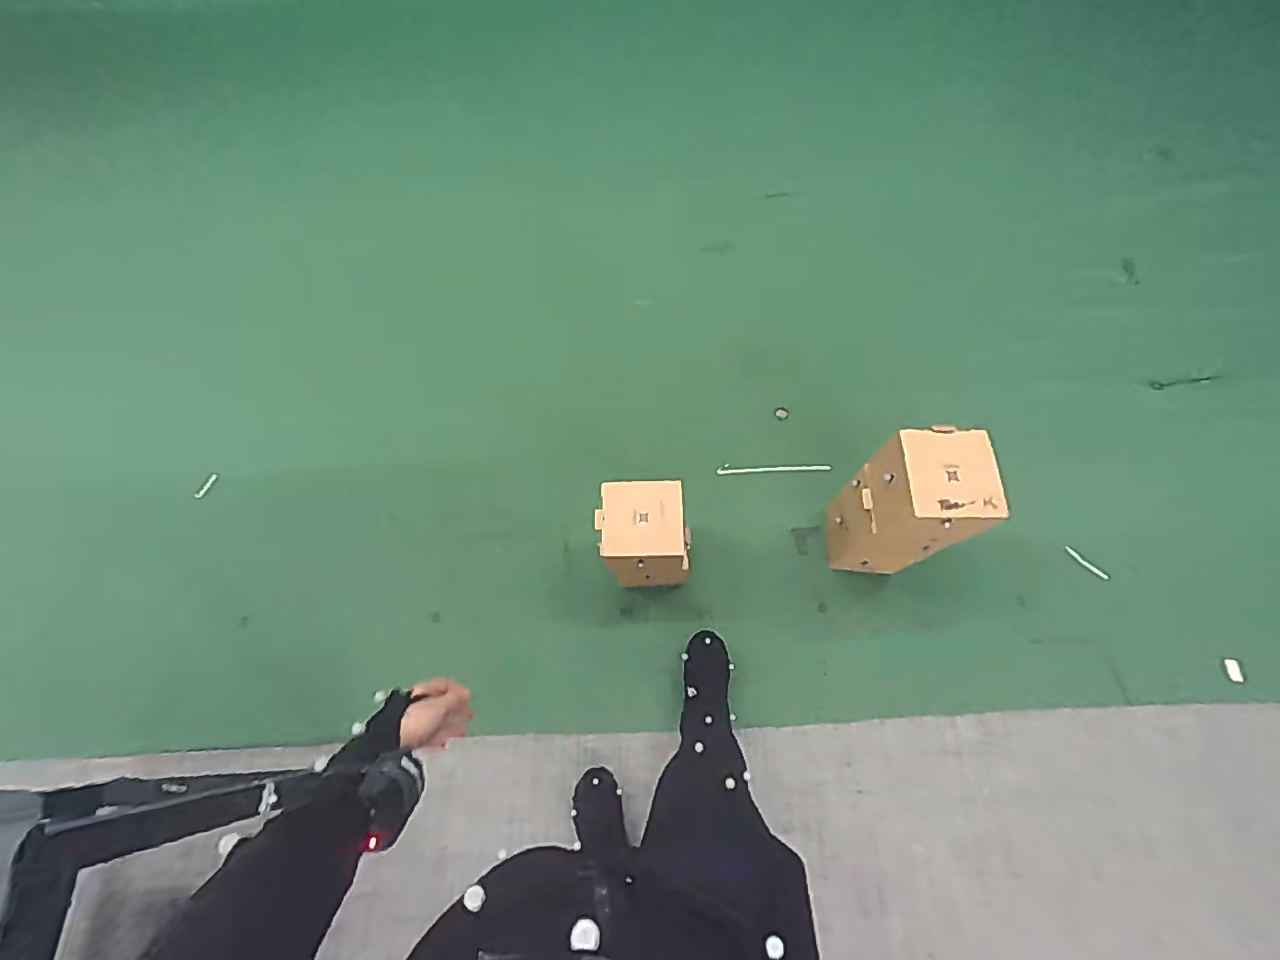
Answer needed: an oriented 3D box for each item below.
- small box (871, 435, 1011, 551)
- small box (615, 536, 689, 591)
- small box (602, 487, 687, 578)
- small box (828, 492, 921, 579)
[{"bbox_3d":[0.567,0.029,1.049,0.168,0.176,0.179,1,67,1],"label":"small box"},{"bbox_3d":[0.028,0.181,1.353,0.179,0.176,0.168,-3,69,0],"label":"small box"},{"bbox_3d":[0.011,0.121,1.202,0.179,0.176,0.168,-1,69,1],"label":"small box"},{"bbox_3d":[0.580,0.144,1.357,0.168,0.176,0.179,4,68,3],"label":"small box"}]
